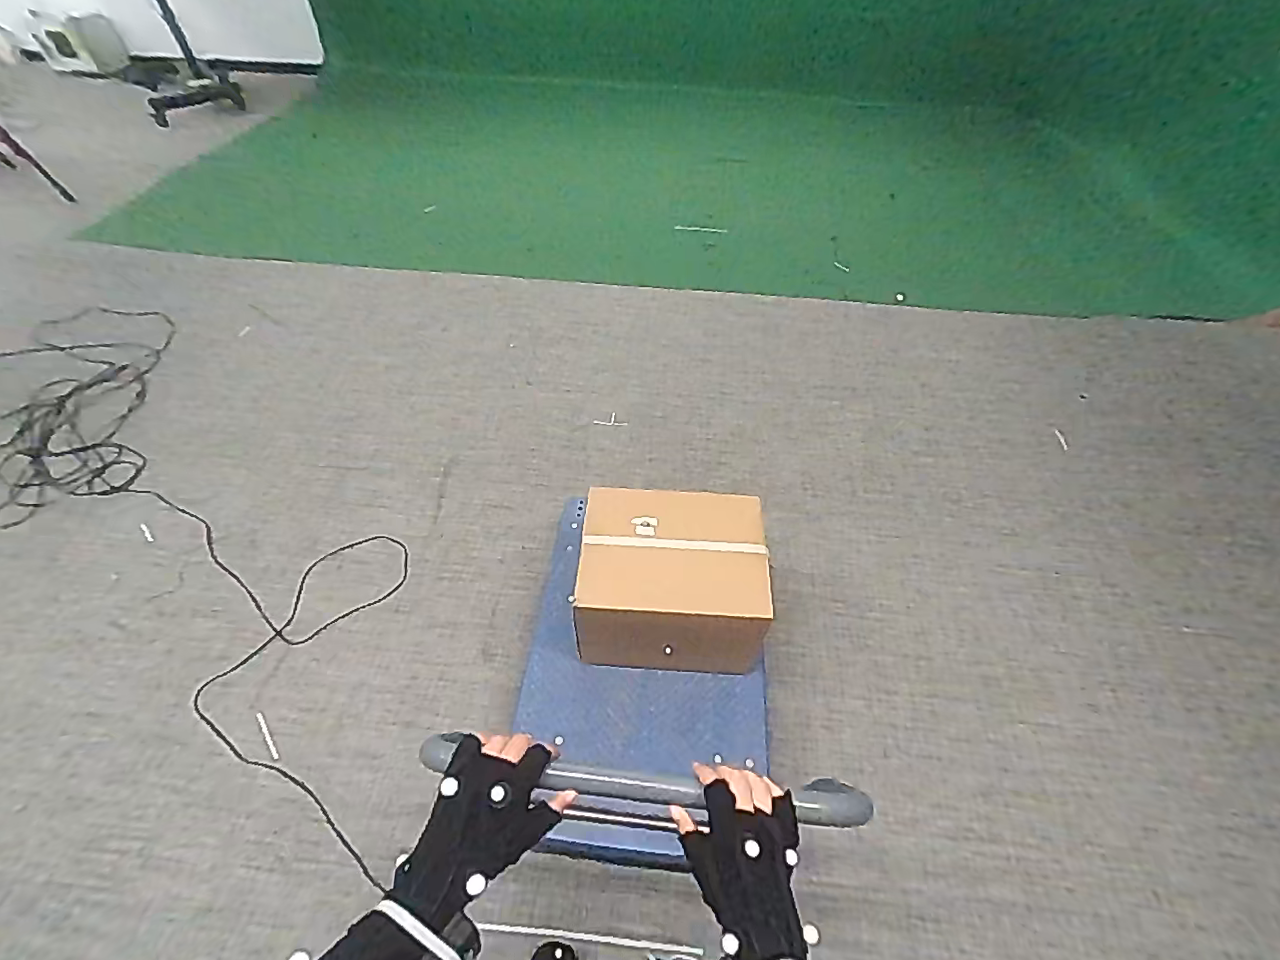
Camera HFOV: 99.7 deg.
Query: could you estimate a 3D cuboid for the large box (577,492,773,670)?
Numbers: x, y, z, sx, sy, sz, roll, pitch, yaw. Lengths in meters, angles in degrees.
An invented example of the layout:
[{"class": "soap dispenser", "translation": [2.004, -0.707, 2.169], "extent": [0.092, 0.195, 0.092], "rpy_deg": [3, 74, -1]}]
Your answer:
[{"class": "large box", "translation": [0.074, 0.247, 1.296], "extent": [0.408, 0.320, 0.320], "rpy_deg": [3, 49, 1]}]
